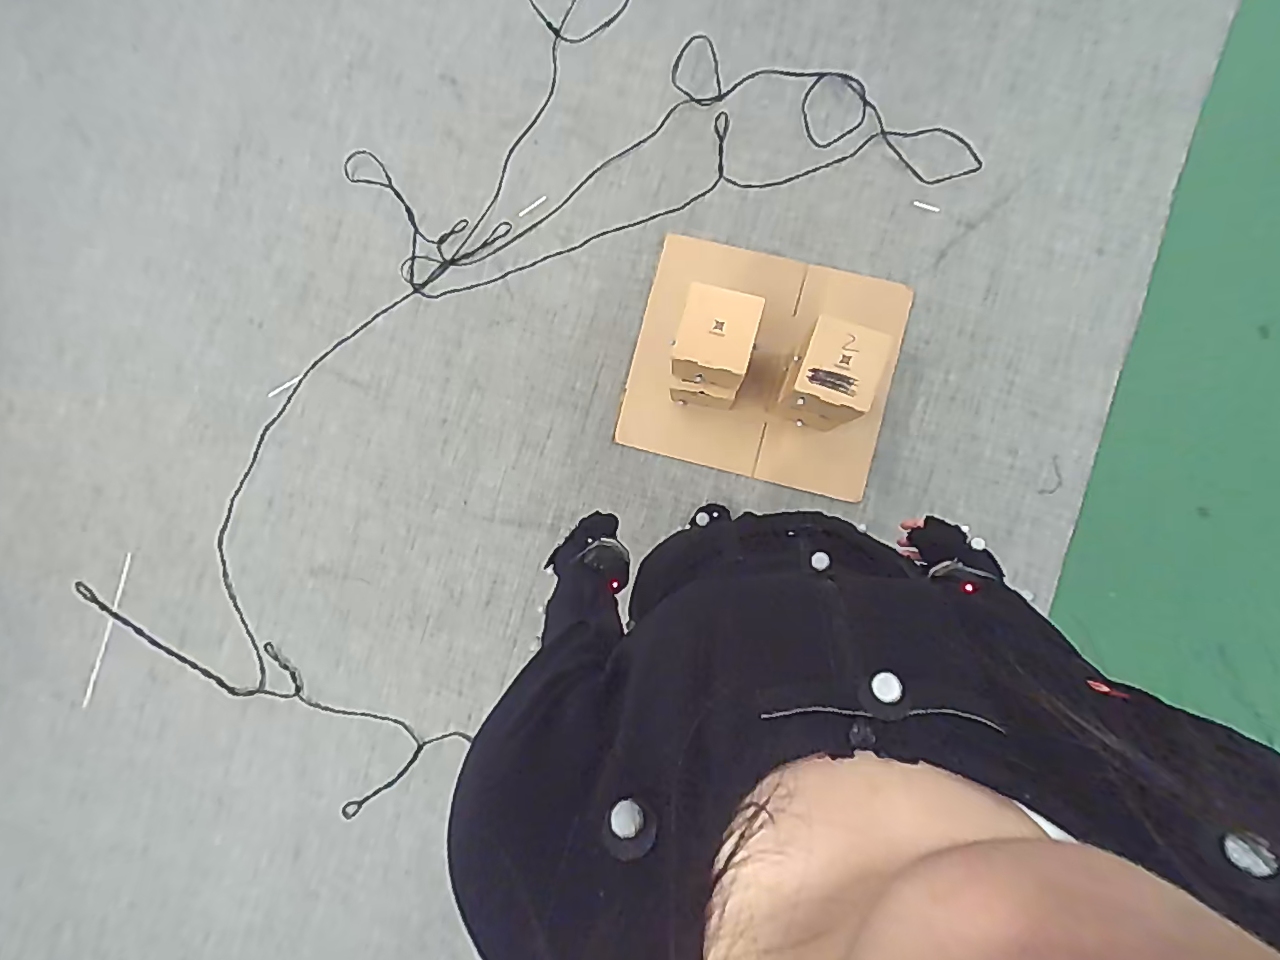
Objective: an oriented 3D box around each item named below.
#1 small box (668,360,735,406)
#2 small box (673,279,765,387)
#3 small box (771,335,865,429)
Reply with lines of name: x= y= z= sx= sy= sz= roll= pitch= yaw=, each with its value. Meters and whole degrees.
small box: x=0.174 y=-0.299 z=1.407 sx=0.168 sy=0.176 sz=0.179 roll=12 pitch=89 yaw=4
small box: x=0.174 y=-0.330 z=1.244 sx=0.168 sy=0.176 sz=0.179 roll=15 pitch=89 yaw=4
small box: x=0.447 y=-0.244 z=1.388 sx=0.168 sy=0.176 sz=0.179 roll=19 pitch=91 yaw=5
